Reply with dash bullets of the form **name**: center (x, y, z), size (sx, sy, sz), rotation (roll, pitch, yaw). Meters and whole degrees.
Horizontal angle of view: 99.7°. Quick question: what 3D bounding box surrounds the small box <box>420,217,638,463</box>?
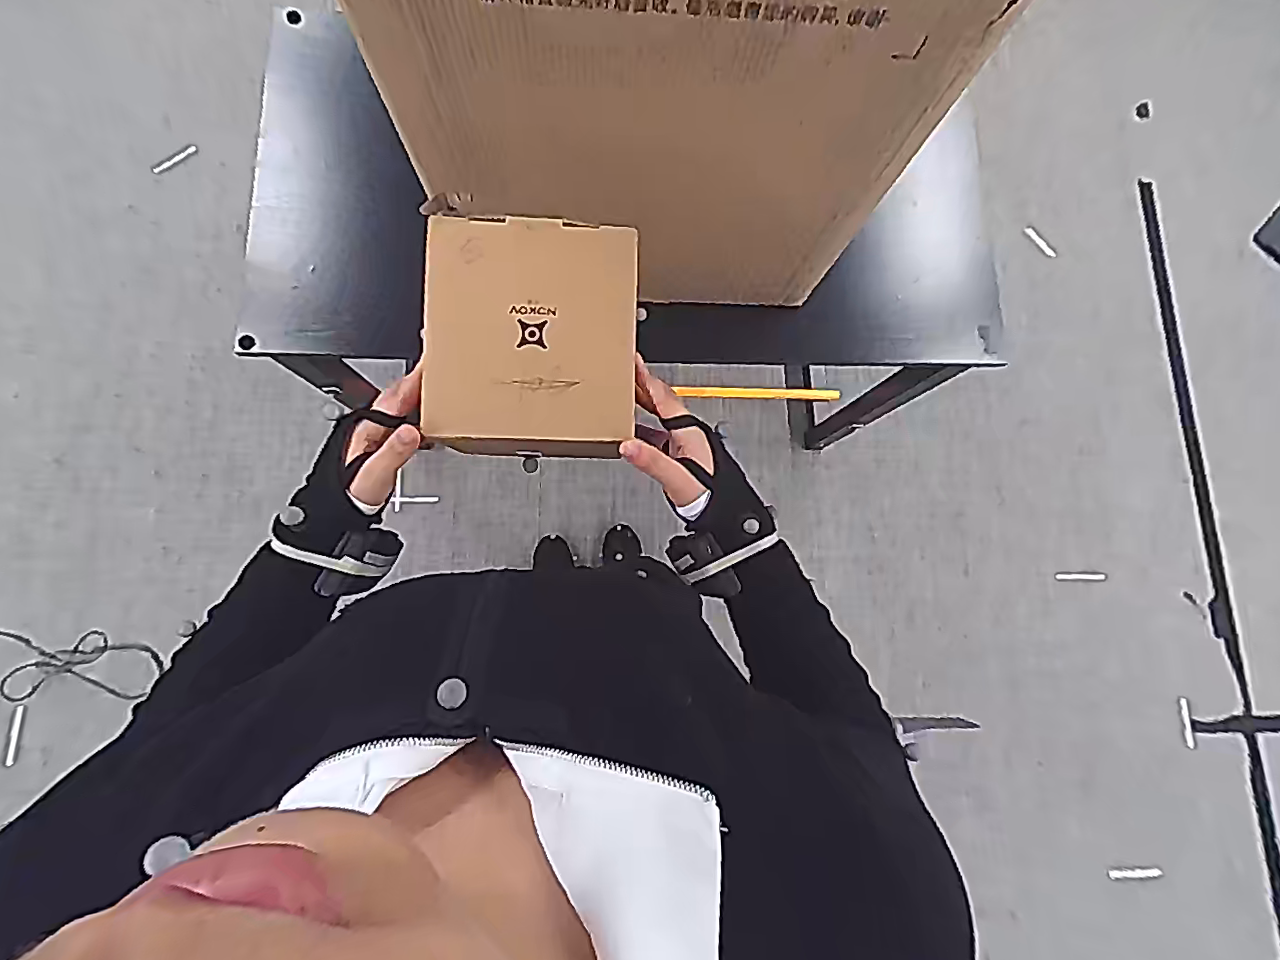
- **small box**: center (-0.092, -0.113, 0.502), size (0.168, 0.176, 0.179), rotation (1, 87, -4)
